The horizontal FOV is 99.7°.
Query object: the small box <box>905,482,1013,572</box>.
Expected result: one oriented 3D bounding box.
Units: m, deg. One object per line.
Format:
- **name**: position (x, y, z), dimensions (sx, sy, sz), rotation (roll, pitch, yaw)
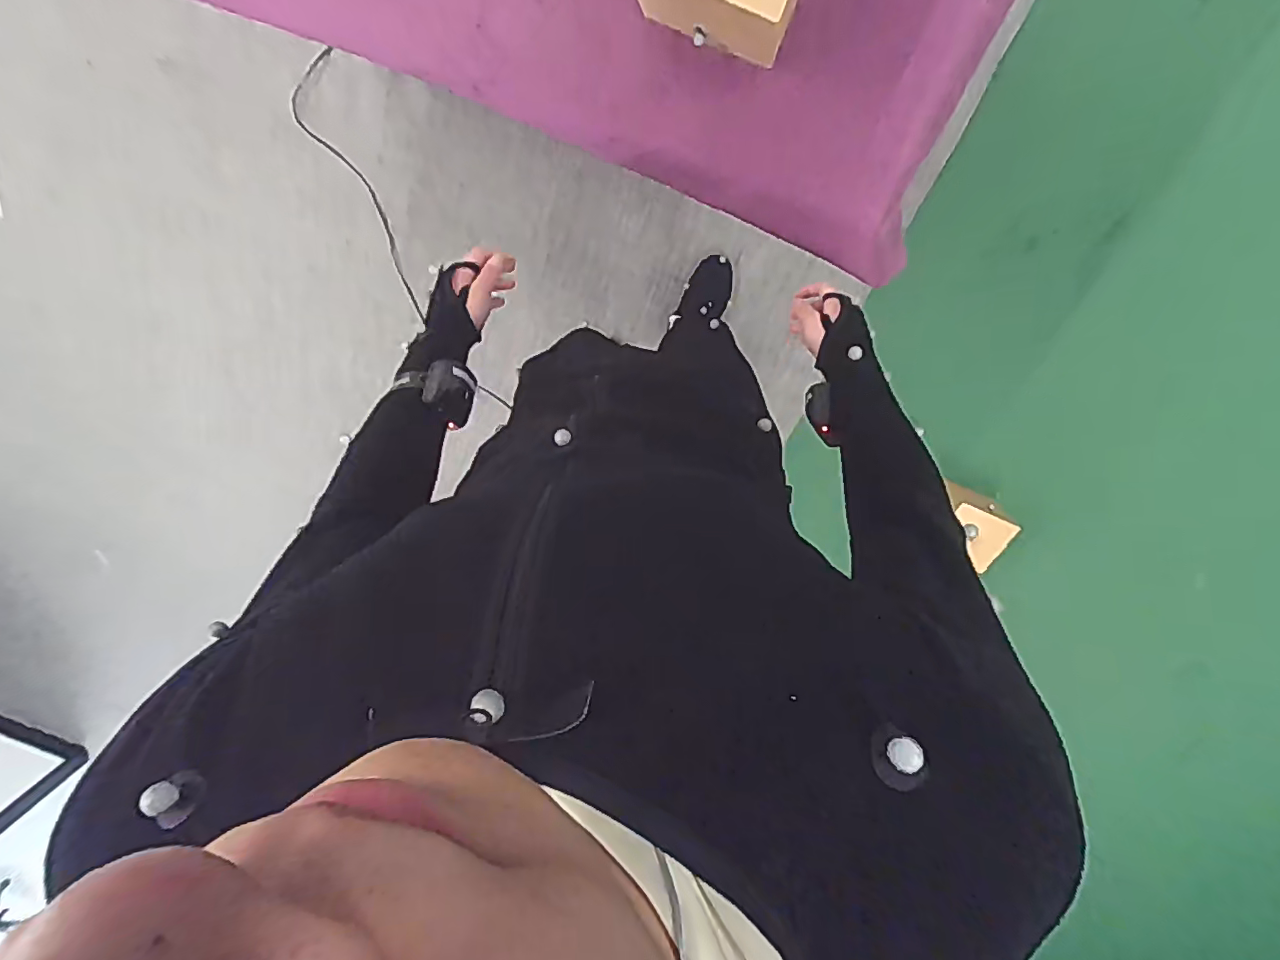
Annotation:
- **small box**: position (0.892, 0.125, 1.534), dimensions (0.179, 0.176, 0.168), rotation (23, 116, -3)
